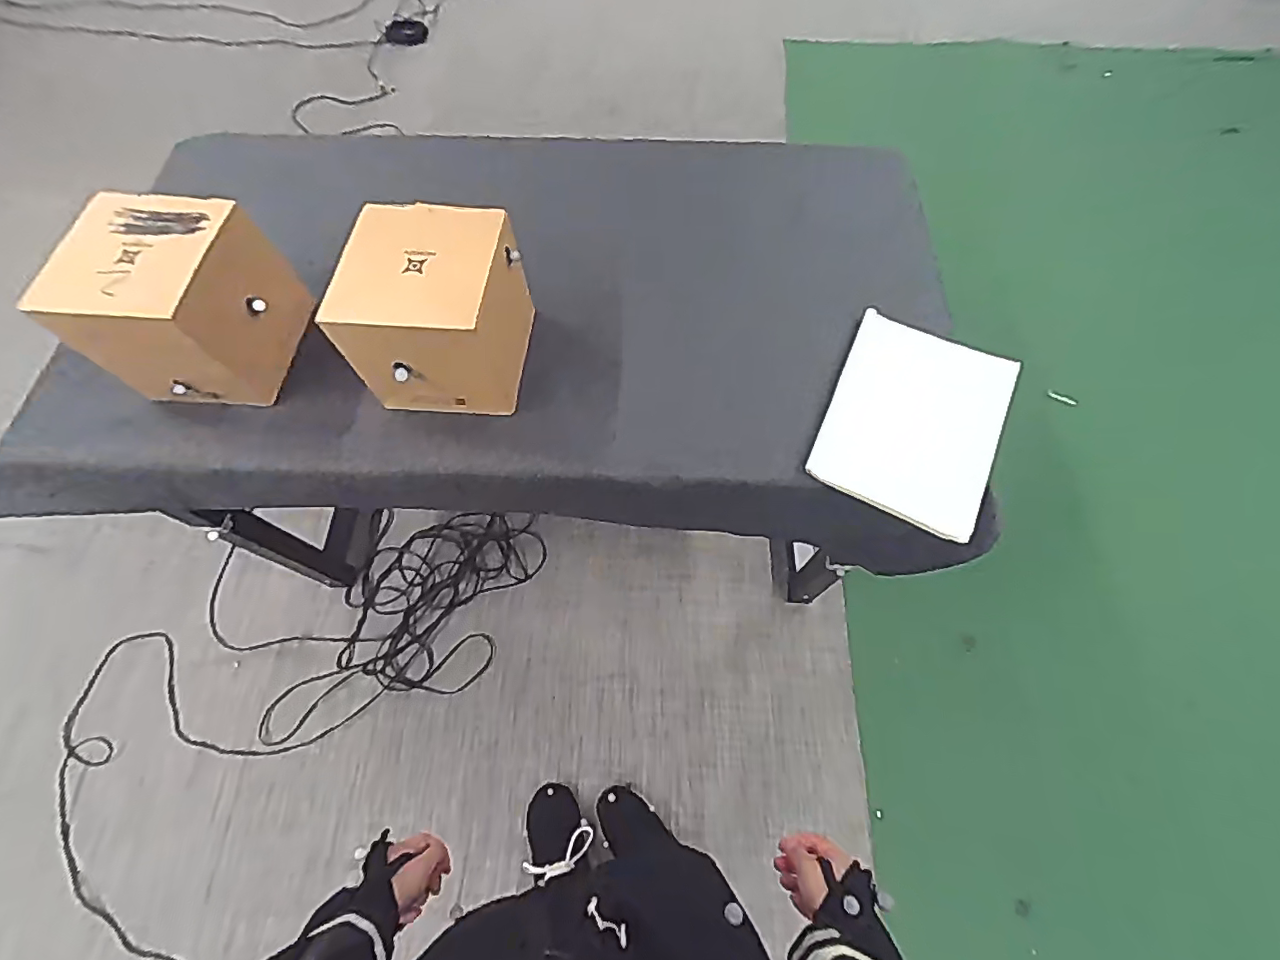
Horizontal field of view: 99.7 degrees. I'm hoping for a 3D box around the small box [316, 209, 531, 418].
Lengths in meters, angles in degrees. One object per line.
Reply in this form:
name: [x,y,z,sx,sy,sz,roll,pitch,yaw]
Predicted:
small box: [-0.235,-0.189,0.641,0.168,0.176,0.179,3,64,3]
